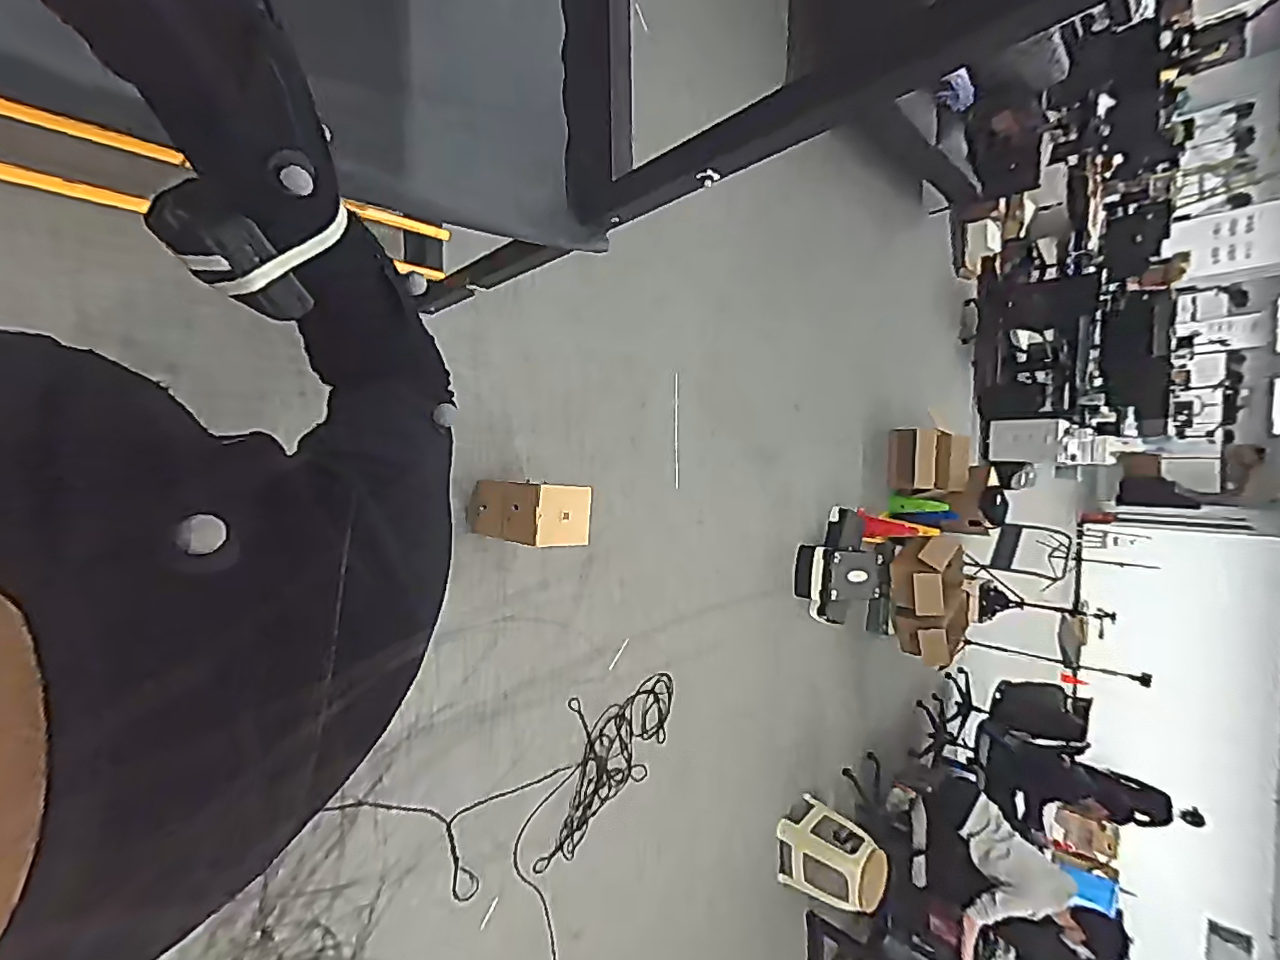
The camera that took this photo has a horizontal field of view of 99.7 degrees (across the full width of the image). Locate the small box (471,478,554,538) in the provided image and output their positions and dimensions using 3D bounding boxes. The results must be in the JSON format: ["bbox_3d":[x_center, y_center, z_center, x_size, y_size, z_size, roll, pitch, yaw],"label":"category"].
[{"bbox_3d":[-0.386,0.083,1.636,0.179,0.176,0.168,6,87,-44],"label":"small box"}]
